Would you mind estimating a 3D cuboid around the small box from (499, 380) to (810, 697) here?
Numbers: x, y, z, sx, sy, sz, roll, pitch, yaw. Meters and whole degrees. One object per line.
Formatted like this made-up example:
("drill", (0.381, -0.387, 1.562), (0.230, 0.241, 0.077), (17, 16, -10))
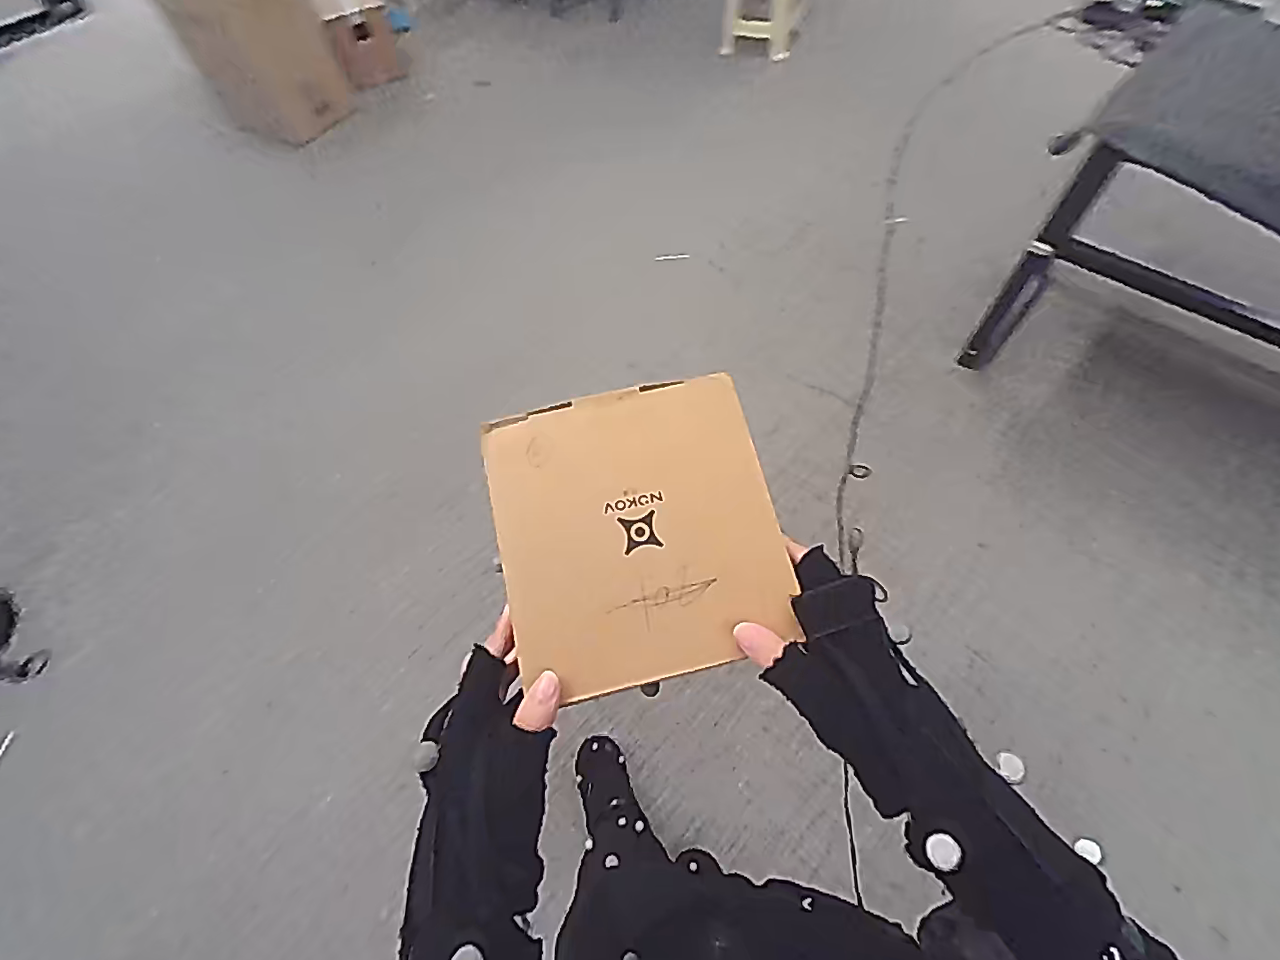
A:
("small box", (0.001, 0.052, 0.407), (0.168, 0.176, 0.179), (-11, 73, -4))
